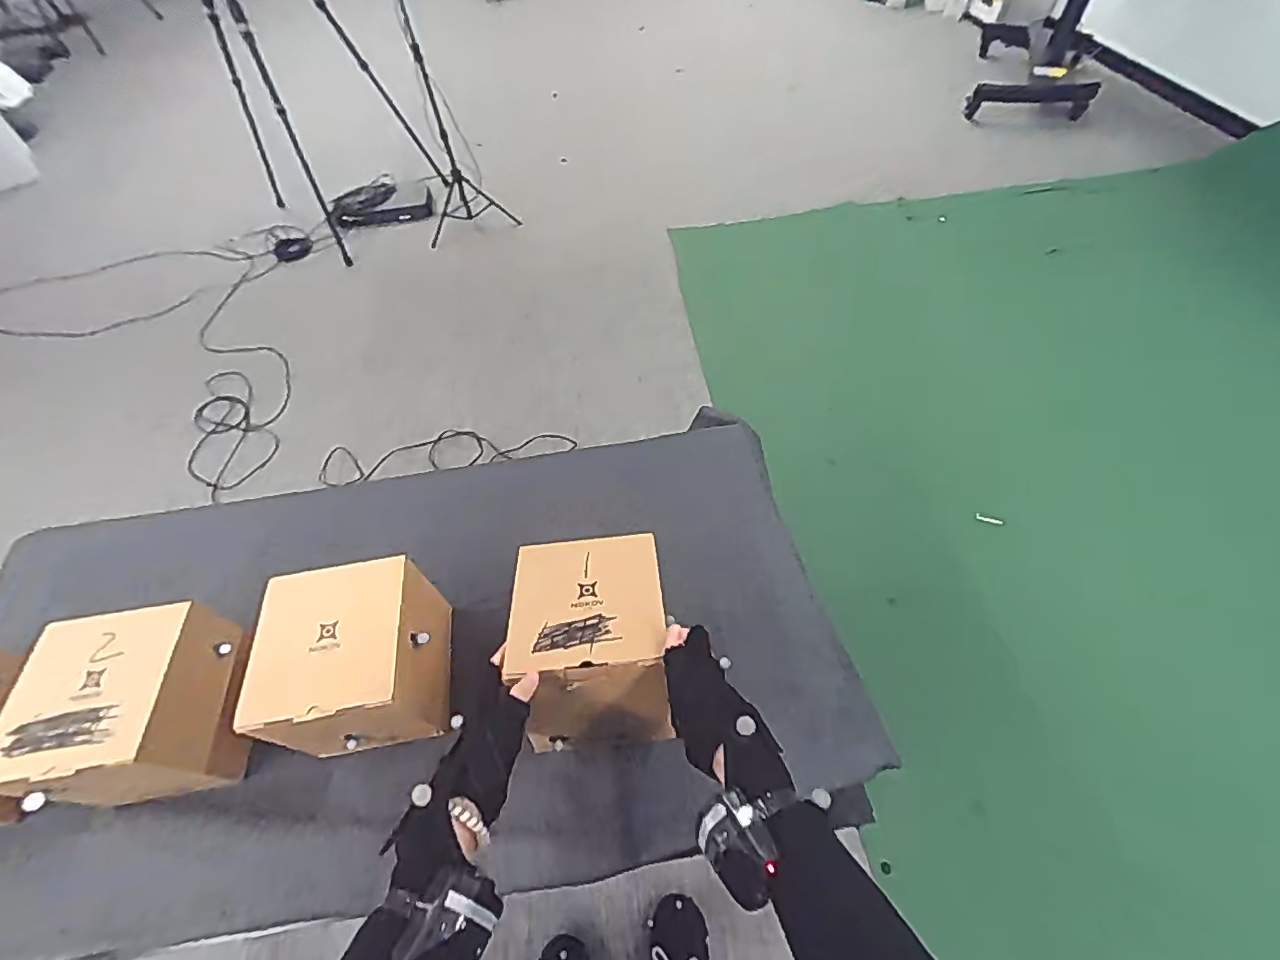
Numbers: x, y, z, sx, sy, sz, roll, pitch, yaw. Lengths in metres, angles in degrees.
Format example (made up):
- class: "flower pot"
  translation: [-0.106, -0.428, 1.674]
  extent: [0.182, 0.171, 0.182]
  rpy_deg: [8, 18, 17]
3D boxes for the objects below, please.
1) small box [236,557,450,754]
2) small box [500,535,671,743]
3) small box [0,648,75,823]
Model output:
- class: "small box"
  translation: [-0.346, 0.221, 0.674]
  extent: [0.168, 0.176, 0.179]
  rpy_deg: [-9, 55, -4]
- class: "small box"
  translation: [-0.053, 0.190, 0.636]
  extent: [0.168, 0.176, 0.179]
  rpy_deg: [-5, 39, 0]
- class: "small box"
  translation: [-0.847, 0.304, 0.637]
  extent: [0.168, 0.176, 0.179]
  rpy_deg: [-6, 53, -1]
